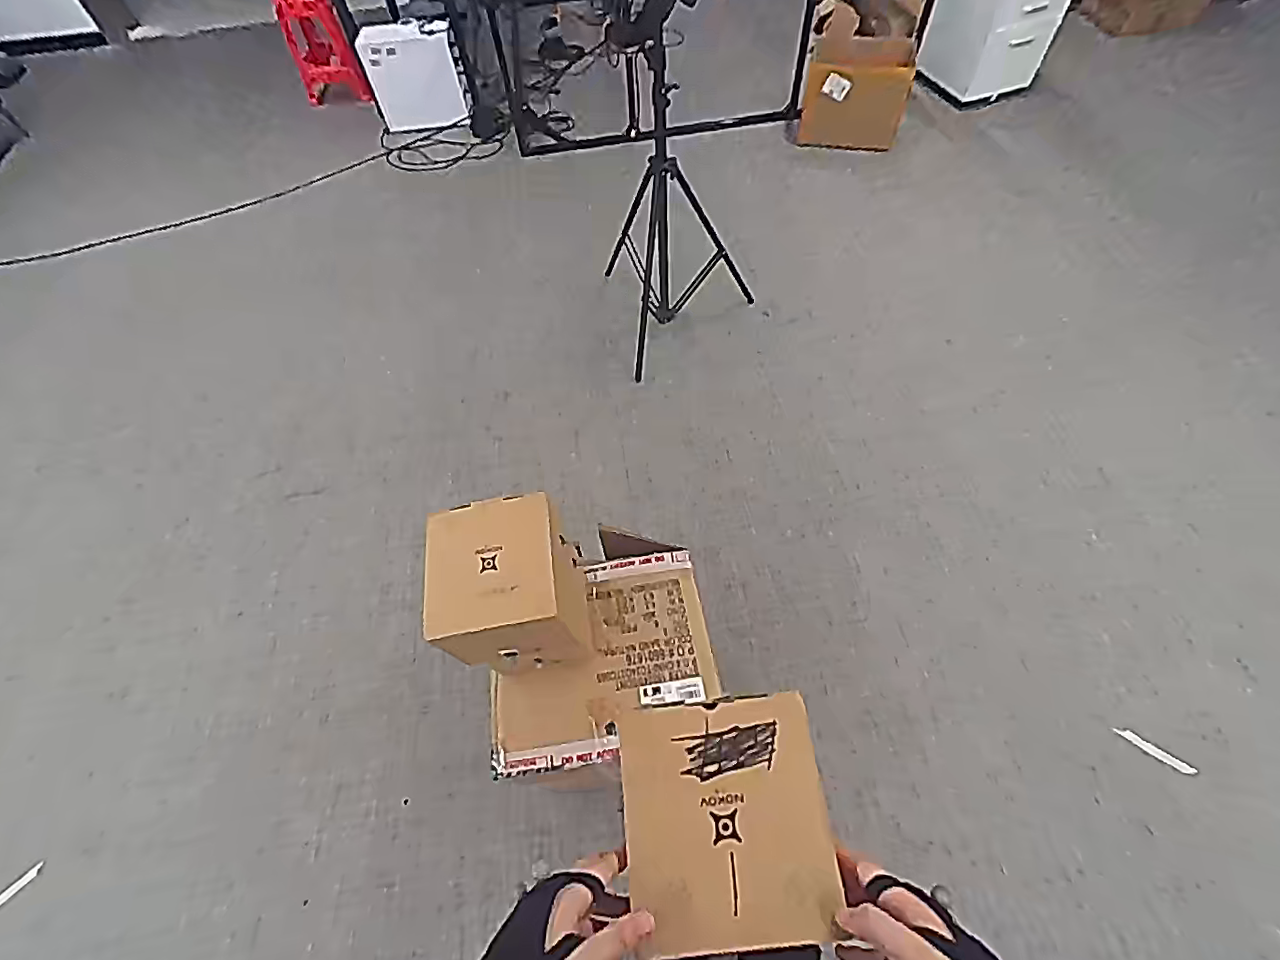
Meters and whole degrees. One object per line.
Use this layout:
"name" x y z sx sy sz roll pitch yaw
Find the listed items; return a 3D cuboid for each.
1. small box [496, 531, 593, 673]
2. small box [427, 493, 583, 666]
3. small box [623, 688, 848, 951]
"small box" -0.178 0.209 0.908 0.168 0.176 0.179 -11 60 -1
"small box" -0.182 0.144 0.757 0.168 0.176 0.179 -11 61 0
"small box" 0.072 0.307 0.515 0.168 0.176 0.179 -5 63 0
